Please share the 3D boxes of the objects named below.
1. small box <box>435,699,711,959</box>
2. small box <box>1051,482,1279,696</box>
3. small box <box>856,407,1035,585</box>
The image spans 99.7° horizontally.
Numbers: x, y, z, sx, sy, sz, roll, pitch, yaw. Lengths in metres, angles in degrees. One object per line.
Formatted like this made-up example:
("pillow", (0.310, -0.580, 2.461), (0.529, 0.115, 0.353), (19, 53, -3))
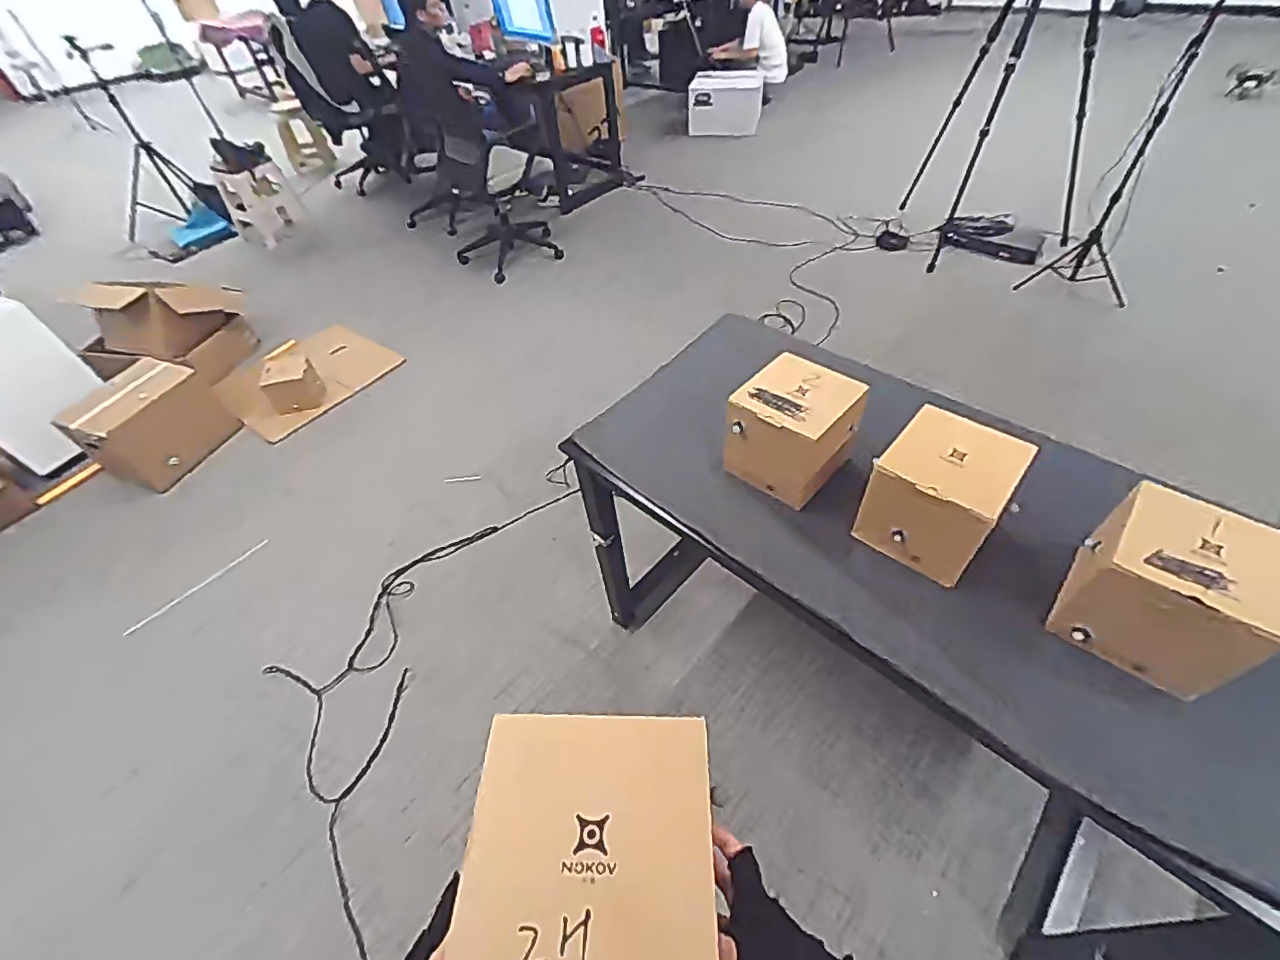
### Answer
("small box", (-0.035, 0.291, 0.419), (0.168, 0.176, 0.179), (0, 47, 3))
("small box", (0.678, 0.143, 0.702), (0.168, 0.176, 0.179), (31, 57, 29))
("small box", (0.459, 0.024, 0.836), (0.168, 0.176, 0.179), (32, 58, 29))
